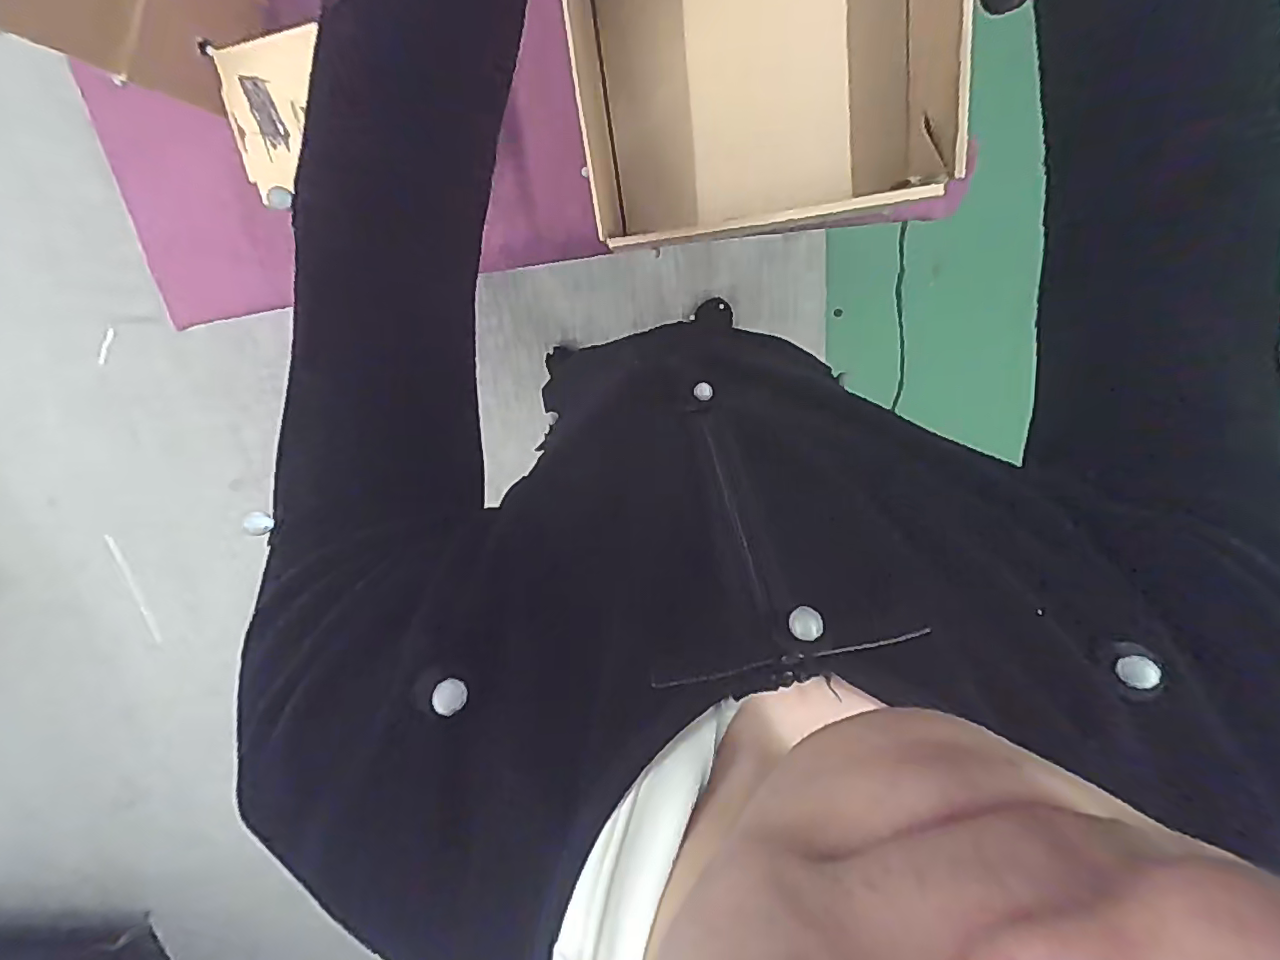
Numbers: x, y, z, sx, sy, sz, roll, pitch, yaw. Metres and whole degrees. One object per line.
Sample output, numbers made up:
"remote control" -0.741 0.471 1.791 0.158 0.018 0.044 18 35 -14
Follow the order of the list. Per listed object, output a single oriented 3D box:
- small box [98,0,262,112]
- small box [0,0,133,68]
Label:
"small box" -0.628 -0.602 0.676 0.179 0.176 0.168 34 108 -7
"small box" -0.636 -0.554 0.520 0.168 0.176 0.179 34 108 -8
